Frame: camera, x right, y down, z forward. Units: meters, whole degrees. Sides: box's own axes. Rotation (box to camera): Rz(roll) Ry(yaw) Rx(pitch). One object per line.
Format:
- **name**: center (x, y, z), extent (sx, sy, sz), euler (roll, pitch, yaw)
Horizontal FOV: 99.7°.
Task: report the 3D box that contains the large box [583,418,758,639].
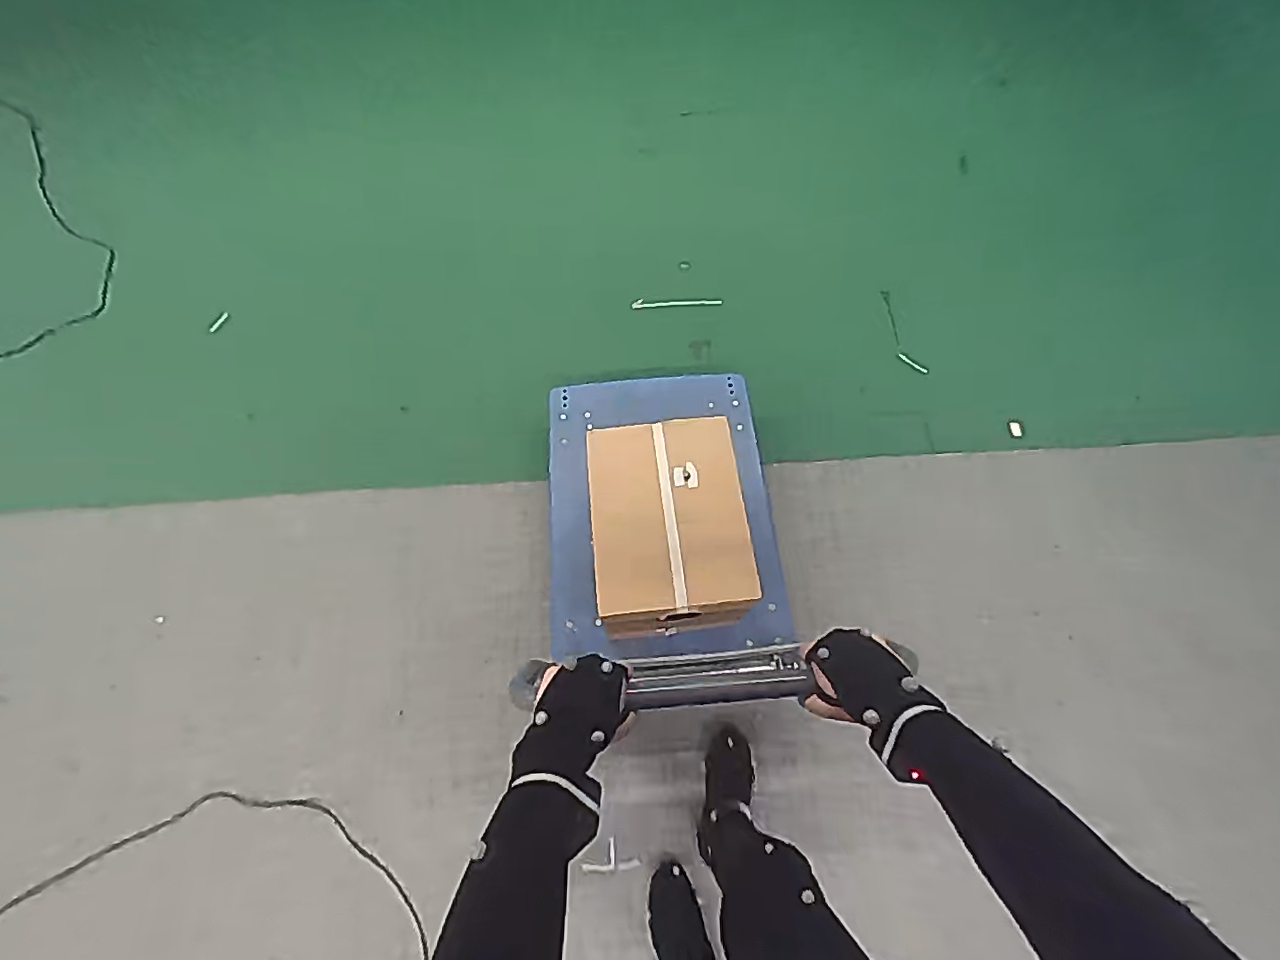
- **large box**: center (0.056, 0.123, 1.240), extent (0.320, 0.320, 0.408), euler (-6, 66, -2)
